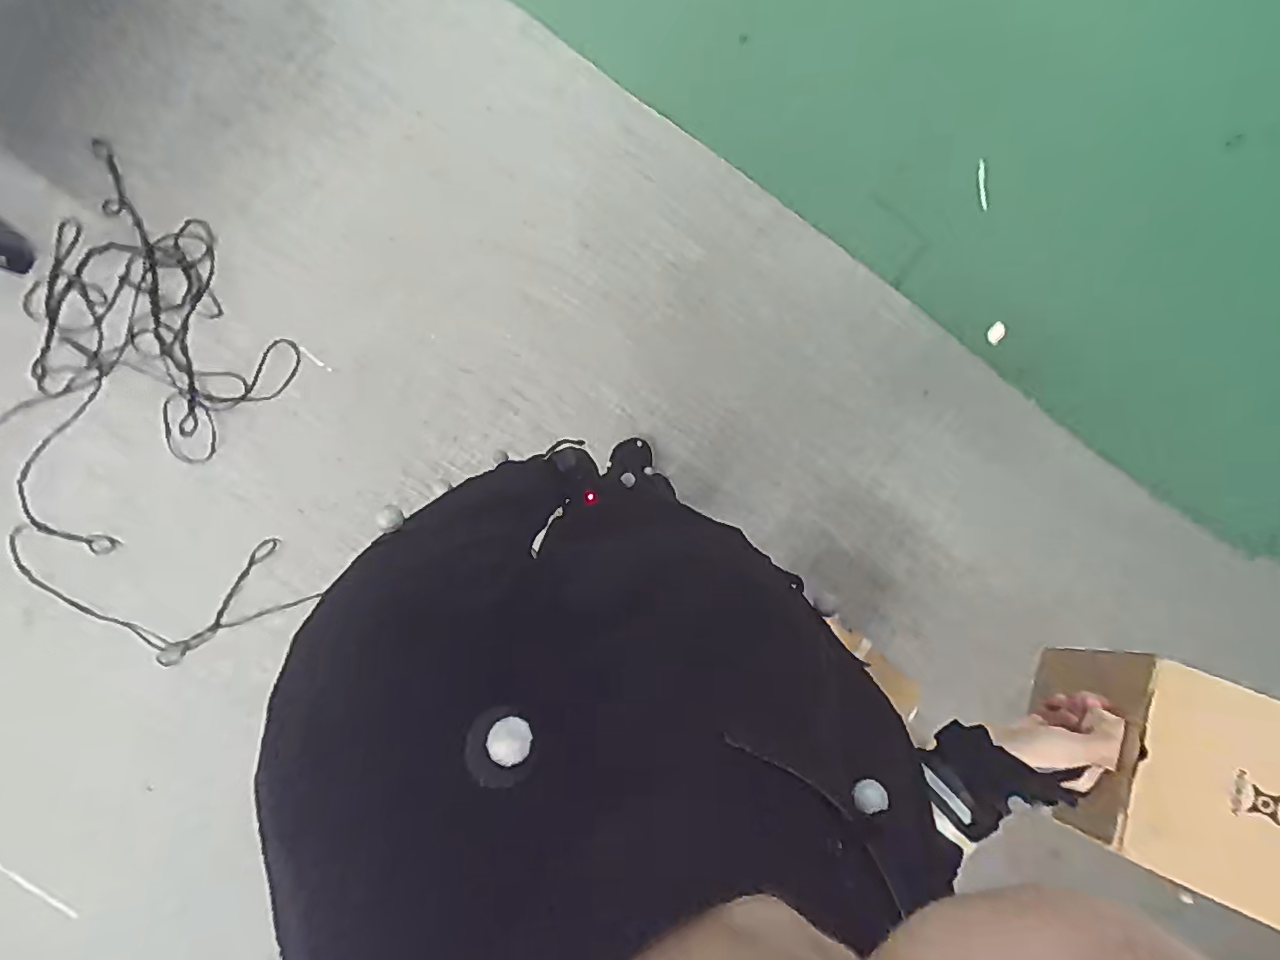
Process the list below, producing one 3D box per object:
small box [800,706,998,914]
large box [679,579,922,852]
[{"bbox_3d":[0.379,0.485,0.825,0.179,0.176,0.168,41,91,-2],"label":"small box"},{"bbox_3d":[0.333,0.499,1.232,0.320,0.320,0.408,36,92,-1],"label":"large box"}]
